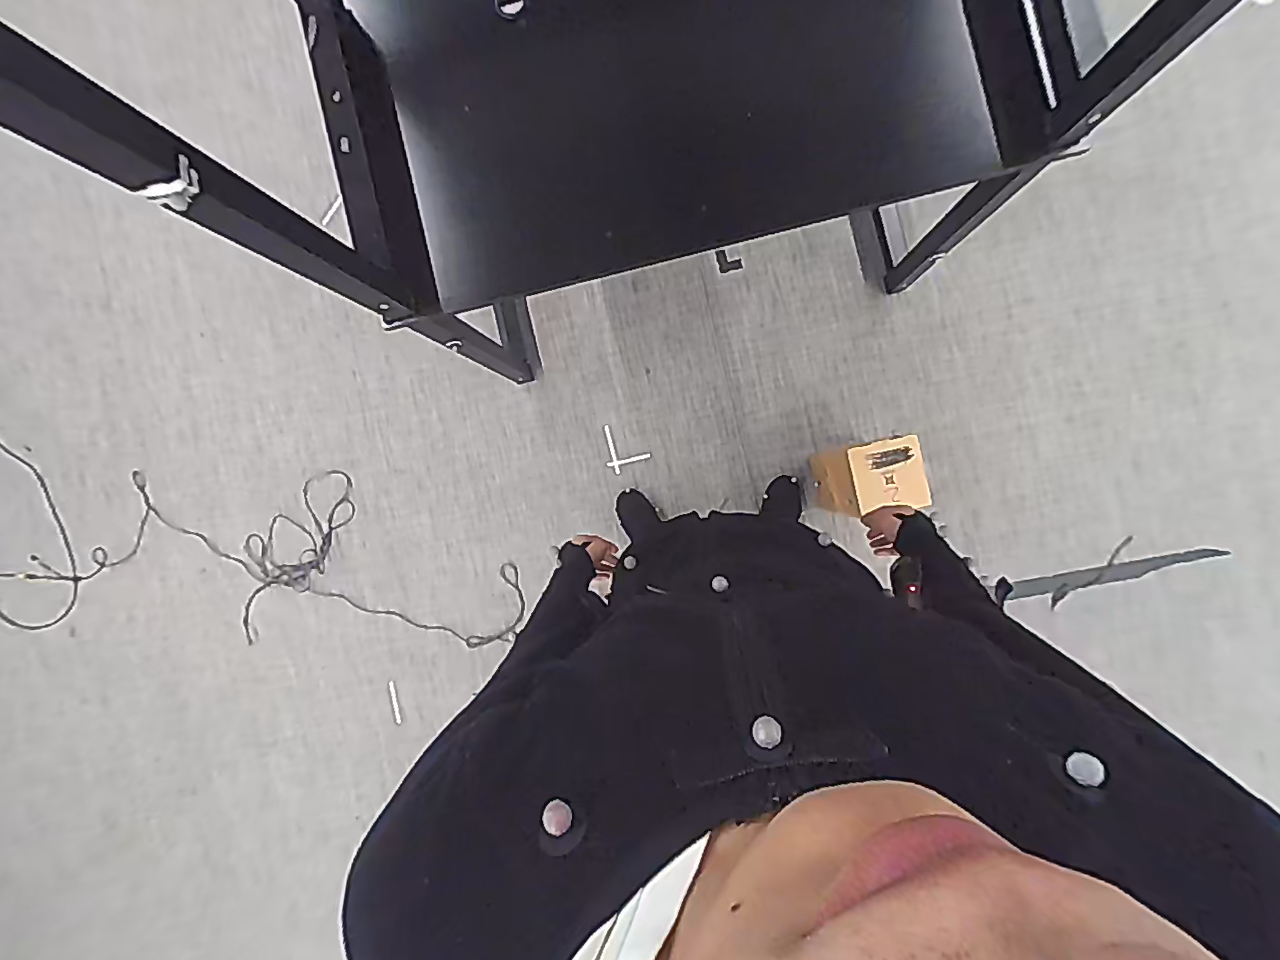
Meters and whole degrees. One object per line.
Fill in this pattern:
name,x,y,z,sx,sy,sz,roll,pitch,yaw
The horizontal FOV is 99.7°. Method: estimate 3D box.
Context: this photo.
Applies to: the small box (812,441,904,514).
small box,0.602,-0.009,1.514,0.179,0.176,0.168,-15,89,6
